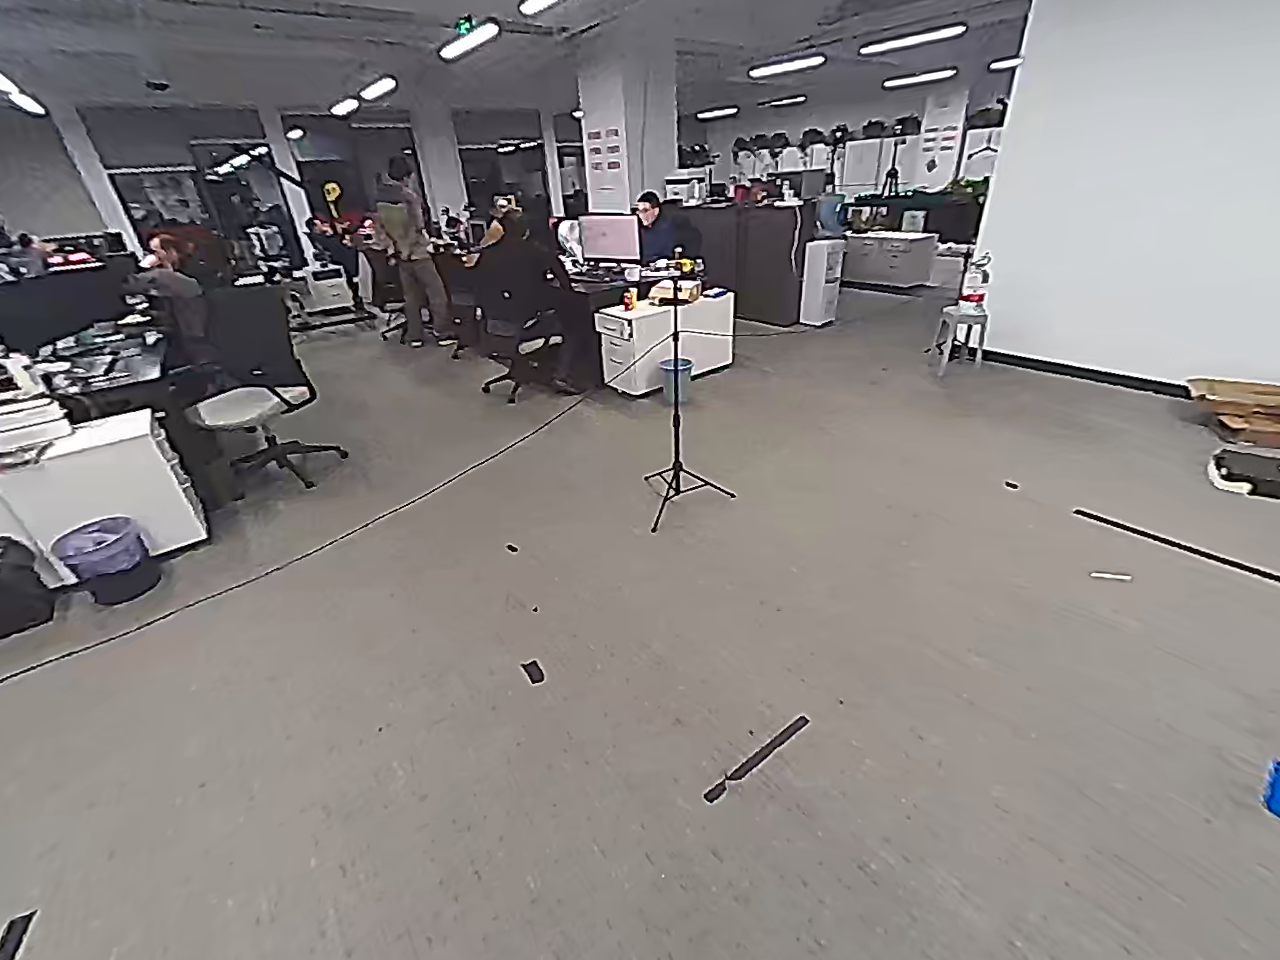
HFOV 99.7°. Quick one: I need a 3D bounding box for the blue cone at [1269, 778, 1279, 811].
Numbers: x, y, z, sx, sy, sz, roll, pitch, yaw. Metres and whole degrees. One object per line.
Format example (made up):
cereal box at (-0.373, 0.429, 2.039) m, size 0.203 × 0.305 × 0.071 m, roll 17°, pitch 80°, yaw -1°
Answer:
blue cone at (1.643, 0.645, 1.214) m, size 0.193 × 0.380 × 0.192 m, roll -23°, pitch 33°, yaw -30°
